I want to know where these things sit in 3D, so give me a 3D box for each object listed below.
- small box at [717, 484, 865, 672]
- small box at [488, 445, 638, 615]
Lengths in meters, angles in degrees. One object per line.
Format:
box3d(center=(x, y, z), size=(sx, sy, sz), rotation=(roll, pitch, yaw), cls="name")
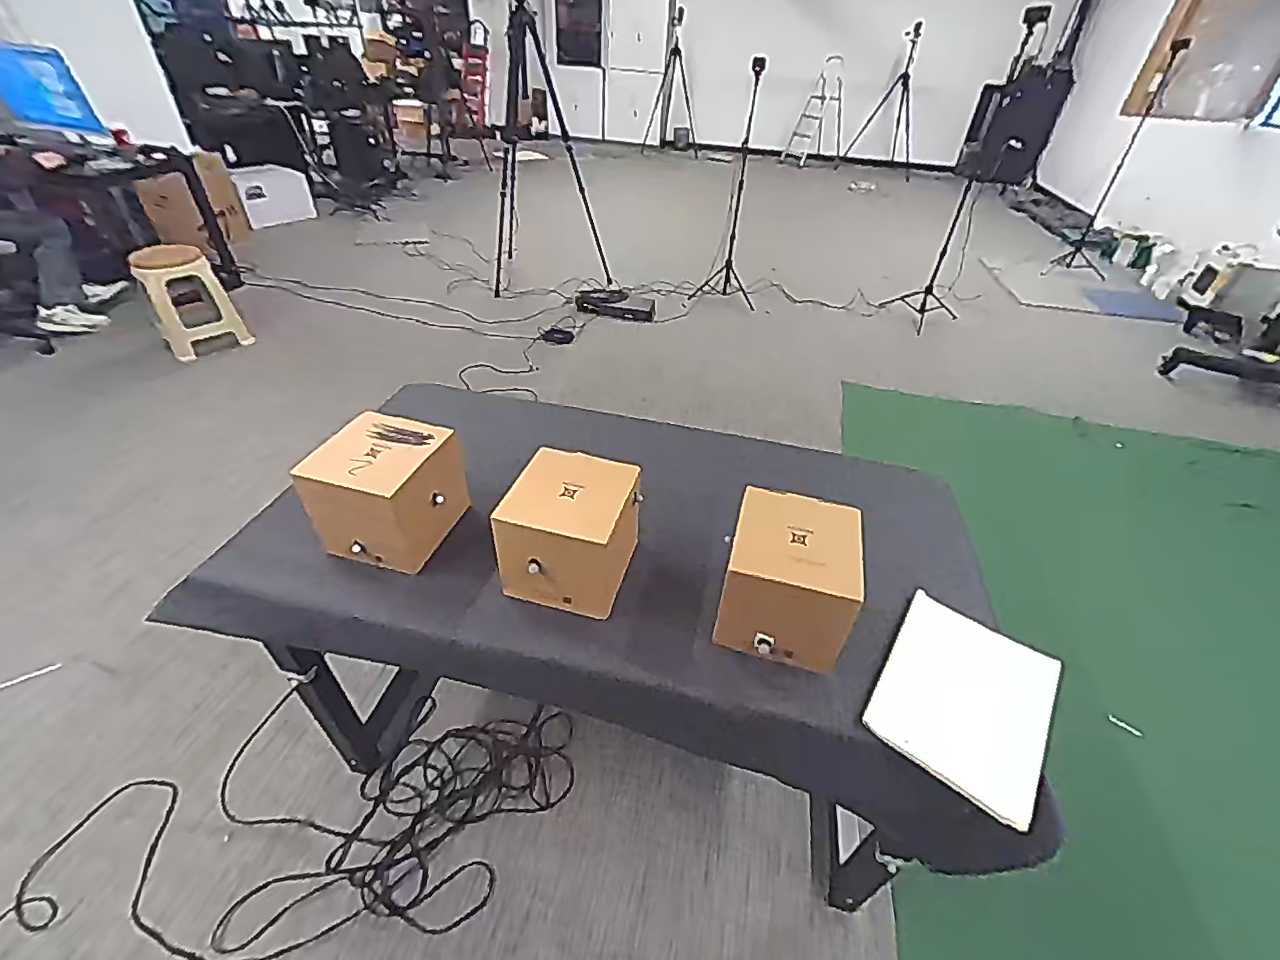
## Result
box3d(center=(0.208, 0.135, 0.764), size=(0.168, 0.176, 0.179), rotation=(11, 41, 11), cls="small box")
box3d(center=(-0.105, 0.075, 0.813), size=(0.168, 0.176, 0.179), rotation=(12, 39, 10), cls="small box")
